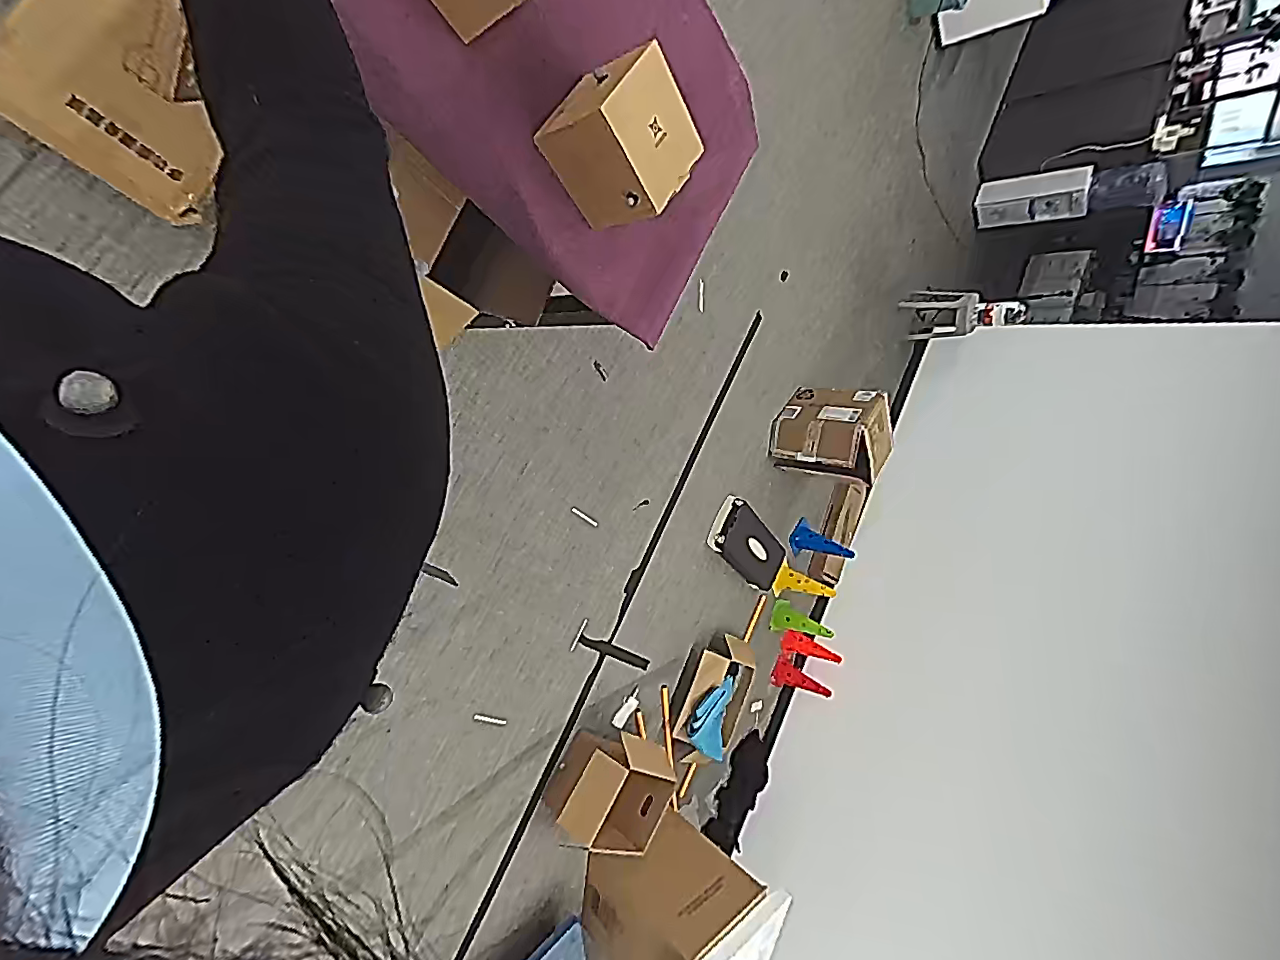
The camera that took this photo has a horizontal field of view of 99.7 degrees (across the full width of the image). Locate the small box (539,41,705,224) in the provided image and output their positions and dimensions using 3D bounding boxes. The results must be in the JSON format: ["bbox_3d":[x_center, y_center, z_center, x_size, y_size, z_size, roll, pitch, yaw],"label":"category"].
[{"bbox_3d":[-0.030,-0.548,0.880,0.179,0.176,0.168,47,66,-44],"label":"small box"}]

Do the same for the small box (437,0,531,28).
[{"bbox_3d":[-0.194,-0.703,0.656,0.179,0.176,0.168,37,71,-46],"label":"small box"}]
